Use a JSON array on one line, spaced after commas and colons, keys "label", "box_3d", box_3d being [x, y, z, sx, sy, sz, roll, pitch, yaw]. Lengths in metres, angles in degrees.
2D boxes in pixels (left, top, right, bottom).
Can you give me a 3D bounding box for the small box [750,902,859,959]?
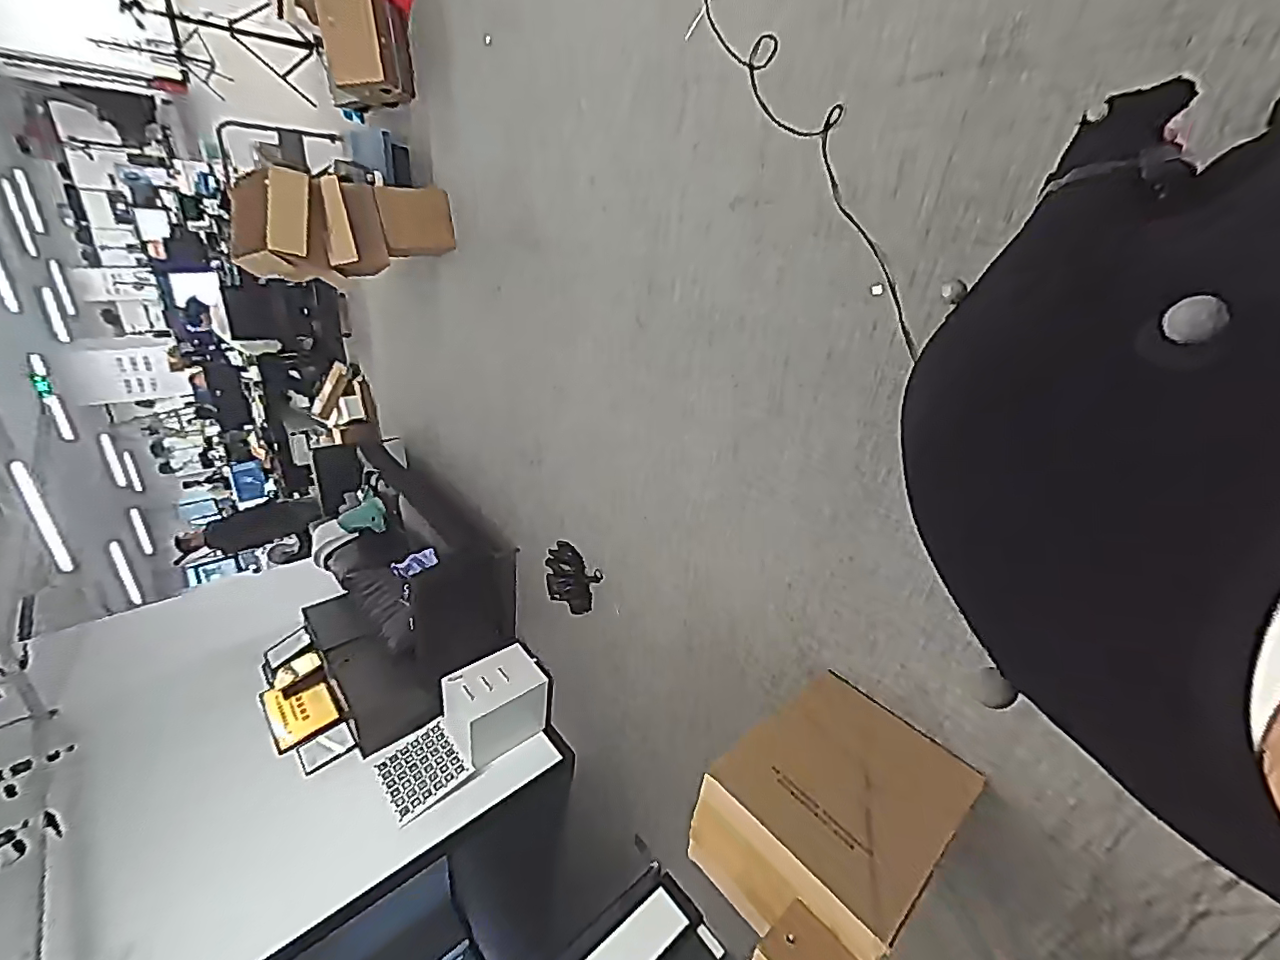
[{"label": "small box", "box_3d": [0.370, 1.128, 1.244, 0.179, 0.176, 0.168, 29, 121, 40]}]
